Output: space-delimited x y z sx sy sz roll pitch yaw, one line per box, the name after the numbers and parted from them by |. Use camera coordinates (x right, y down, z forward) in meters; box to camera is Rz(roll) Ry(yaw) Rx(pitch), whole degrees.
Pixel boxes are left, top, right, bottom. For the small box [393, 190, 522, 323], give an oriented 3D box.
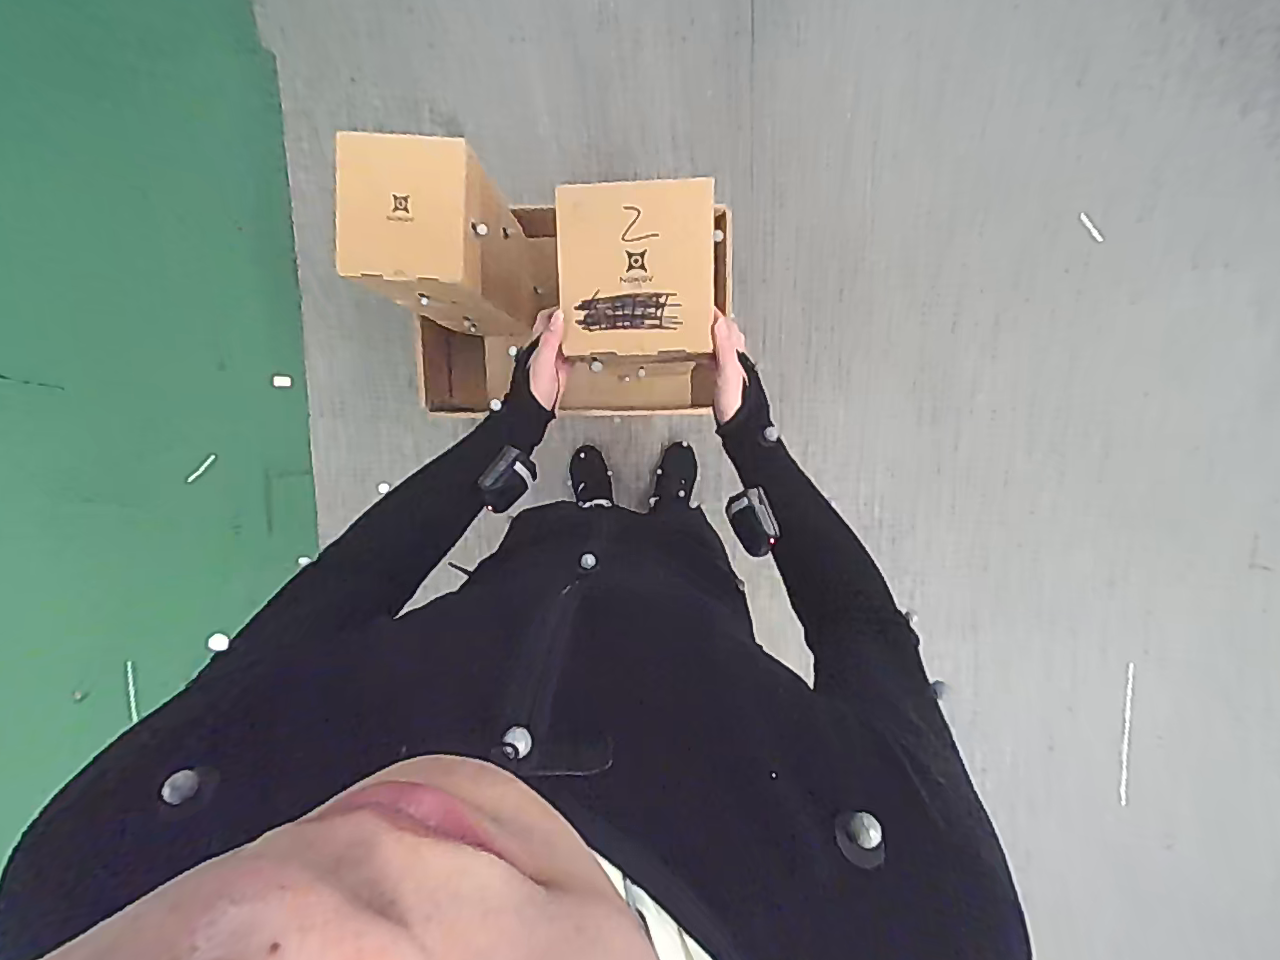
-0.303 -0.376 0.923 0.168 0.176 0.179 3 97 1 | small box

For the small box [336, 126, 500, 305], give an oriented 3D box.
-0.300 -0.358 0.762 0.168 0.176 0.179 4 97 0 | small box

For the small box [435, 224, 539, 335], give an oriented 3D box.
-0.302 -0.395 1.085 0.168 0.176 0.179 0 97 2 | small box

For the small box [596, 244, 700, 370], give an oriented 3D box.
0.013 -0.288 0.931 0.168 0.176 0.179 -2 97 1 | small box
